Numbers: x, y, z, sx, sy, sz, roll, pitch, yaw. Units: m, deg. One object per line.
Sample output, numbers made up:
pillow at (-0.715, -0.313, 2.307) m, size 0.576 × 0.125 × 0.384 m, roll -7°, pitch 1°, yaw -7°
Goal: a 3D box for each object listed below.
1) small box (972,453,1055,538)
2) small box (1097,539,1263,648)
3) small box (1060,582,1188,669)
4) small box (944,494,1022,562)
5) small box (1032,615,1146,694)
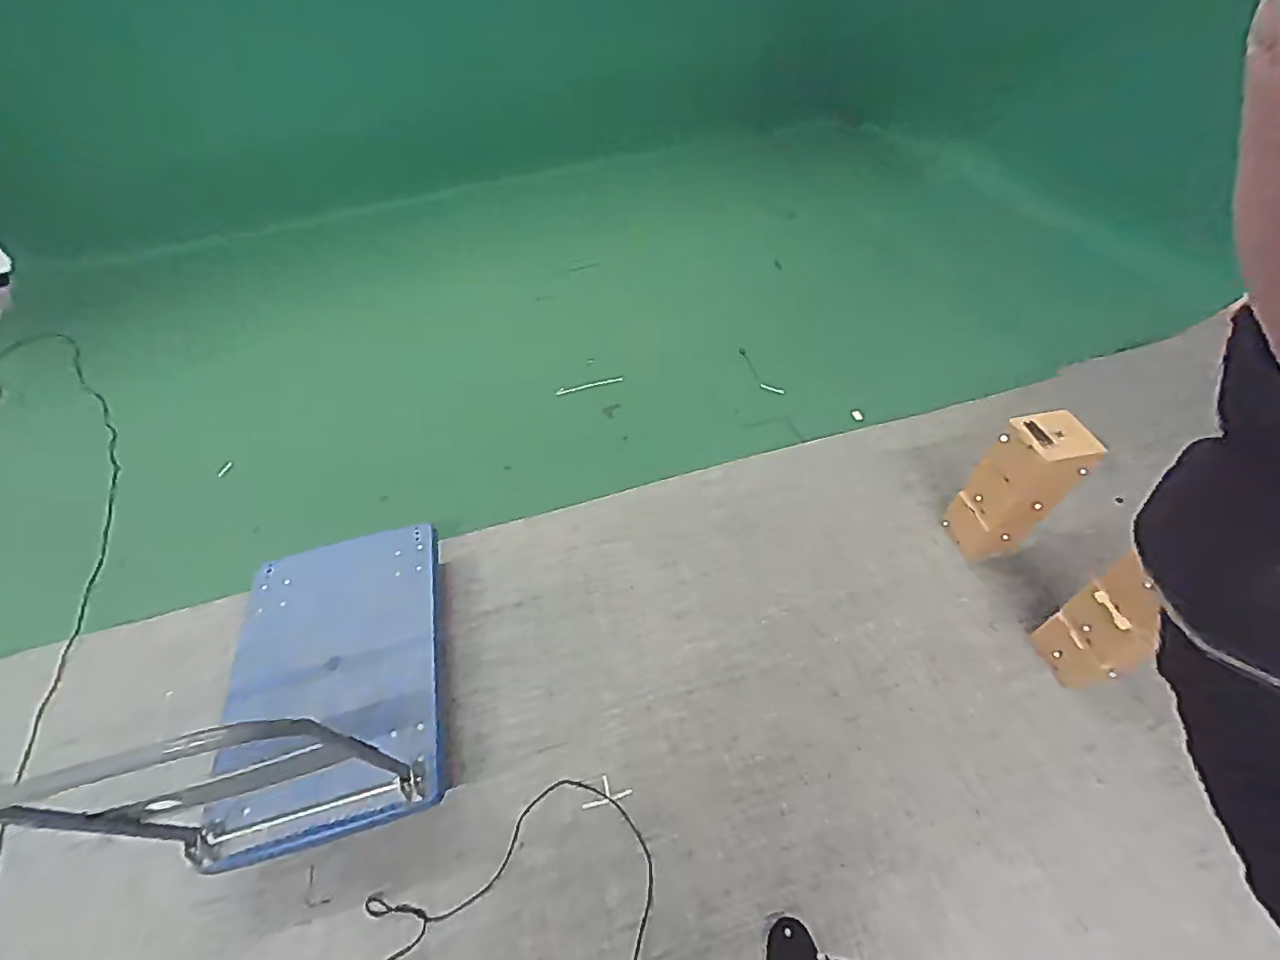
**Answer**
small box at (1.142, 0.048, 1.667) m, size 0.168 × 0.176 × 0.179 m, roll 13°, pitch 52°, yaw 18°
small box at (1.226, 0.263, 1.248) m, size 0.168 × 0.176 × 0.179 m, roll -10°, pitch 50°, yaw -2°
small box at (1.236, 0.363, 1.376) m, size 0.179 × 0.176 × 0.168 m, roll -9°, pitch 49°, yaw -2°
small box at (1.135, 0.153, 1.782) m, size 0.179 × 0.176 × 0.168 m, roll -10°, pitch 50°, yaw -4°
small box at (1.238, 0.472, 1.500) m, size 0.179 × 0.176 × 0.168 m, roll -13°, pitch 50°, yaw -5°
